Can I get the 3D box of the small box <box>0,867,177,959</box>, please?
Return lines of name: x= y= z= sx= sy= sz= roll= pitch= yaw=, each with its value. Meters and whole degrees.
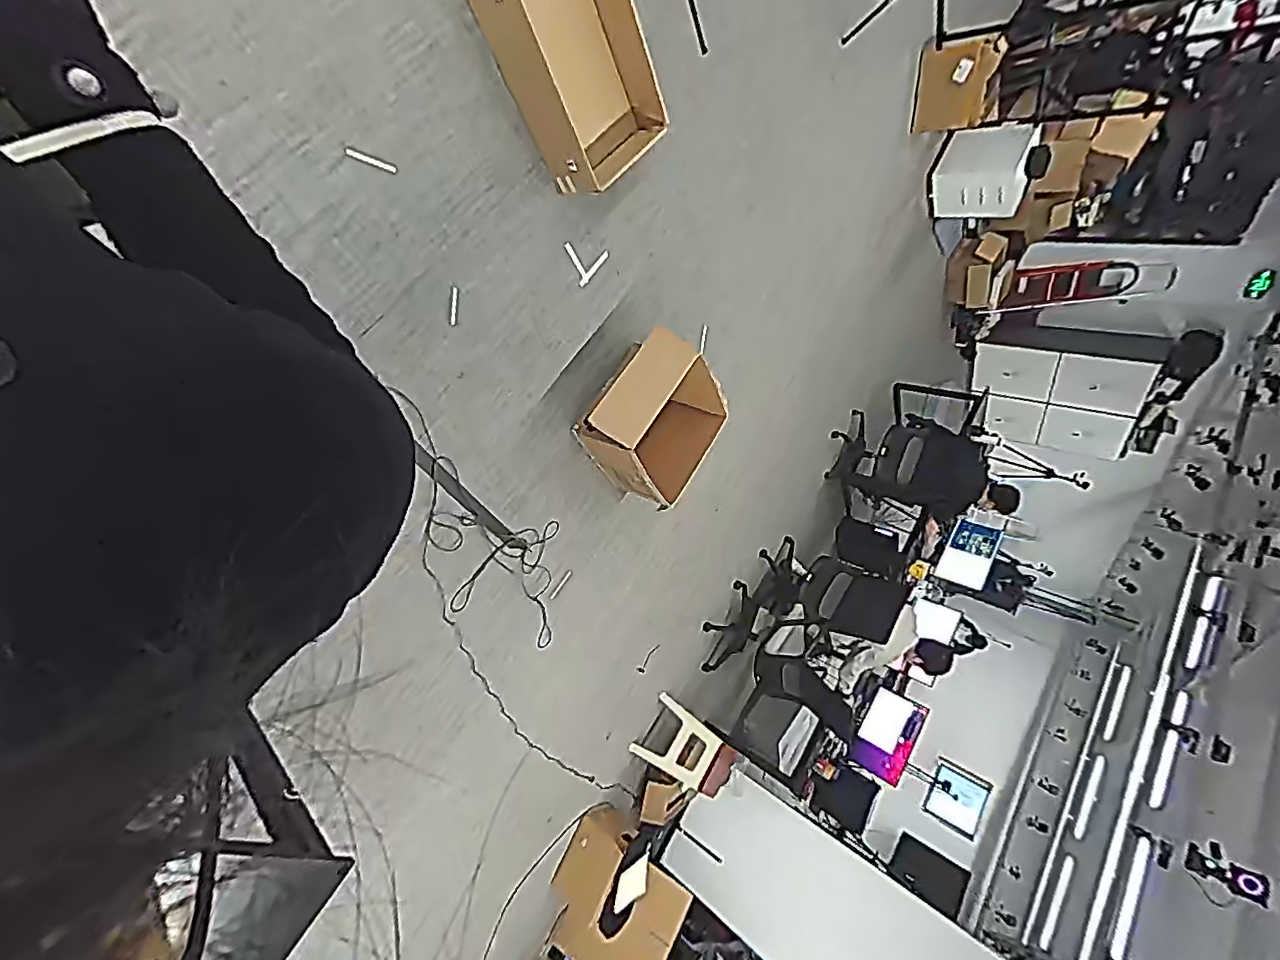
small box: x=-0.679 y=0.566 z=0.599 sx=0.179 sy=0.176 sz=0.168 roll=-59 pitch=142 yaw=-13
